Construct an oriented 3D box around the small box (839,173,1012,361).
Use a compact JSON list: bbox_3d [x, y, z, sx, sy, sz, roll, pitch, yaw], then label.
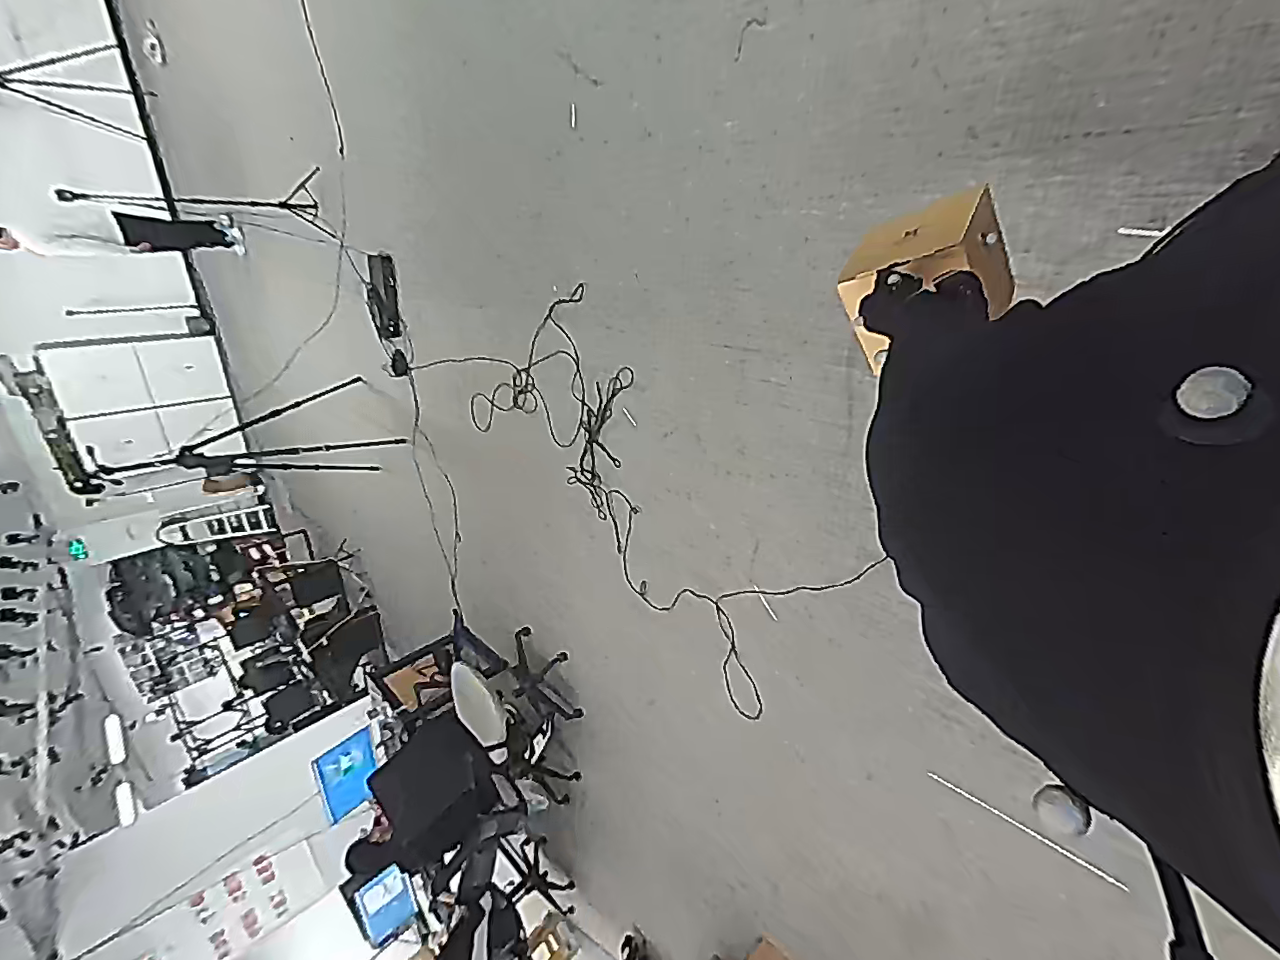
[{"bbox_3d":[0.426,-0.303,0.798,0.168,0.179,0.176,-3,134,49],"label":"small box"}]
